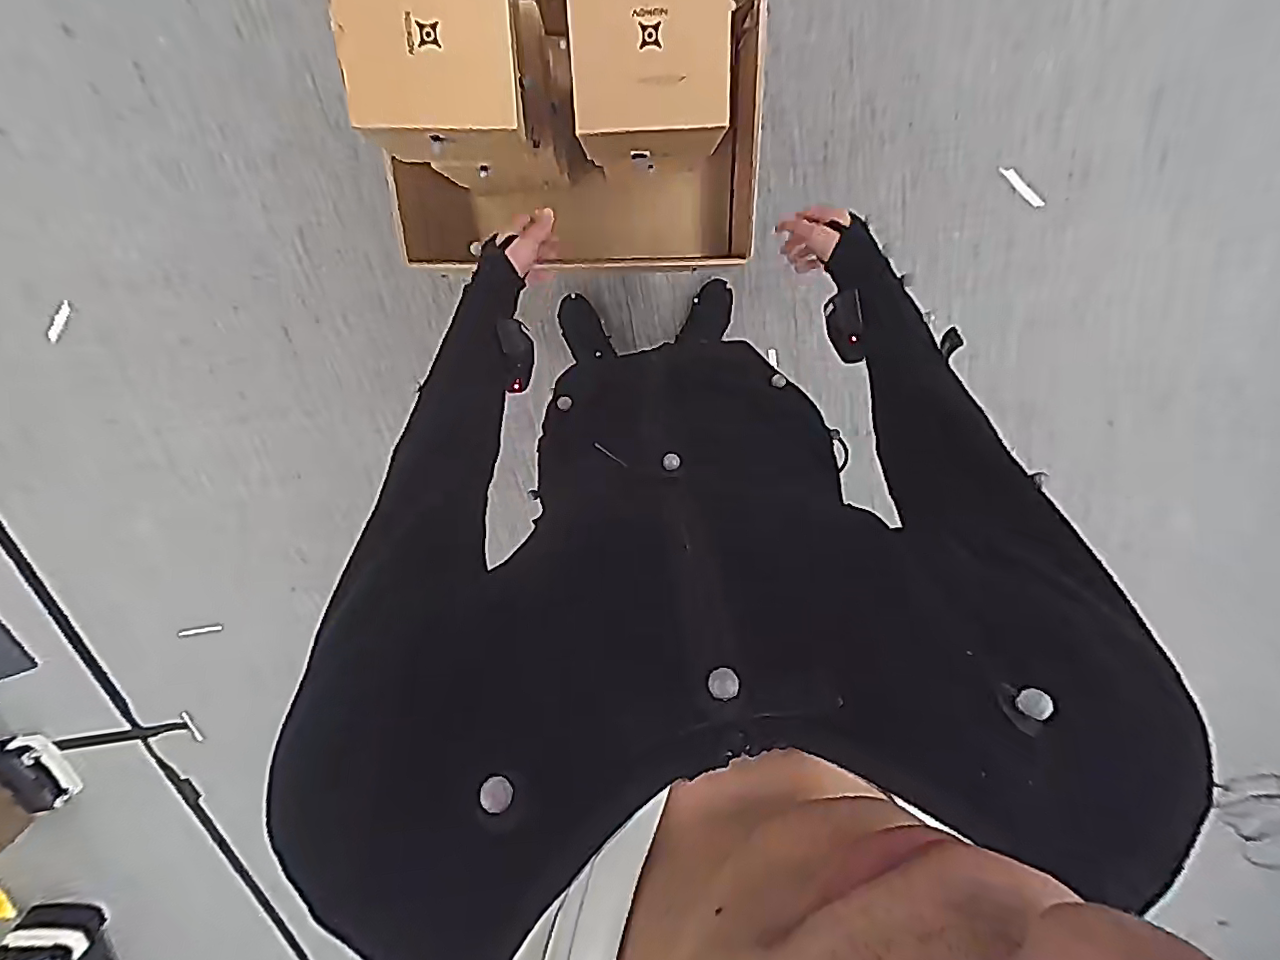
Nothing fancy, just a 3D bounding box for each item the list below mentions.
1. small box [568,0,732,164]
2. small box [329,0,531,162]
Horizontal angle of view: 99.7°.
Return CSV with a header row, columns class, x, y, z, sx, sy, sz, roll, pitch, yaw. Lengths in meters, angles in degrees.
class,x,y,z,sx,sy,sz,roll,pitch,yaw
small box,0.009,-0.479,0.615,0.168,0.176,0.179,-2,110,1
small box,-0.221,-0.471,0.611,0.179,0.176,0.168,-2,111,-3
